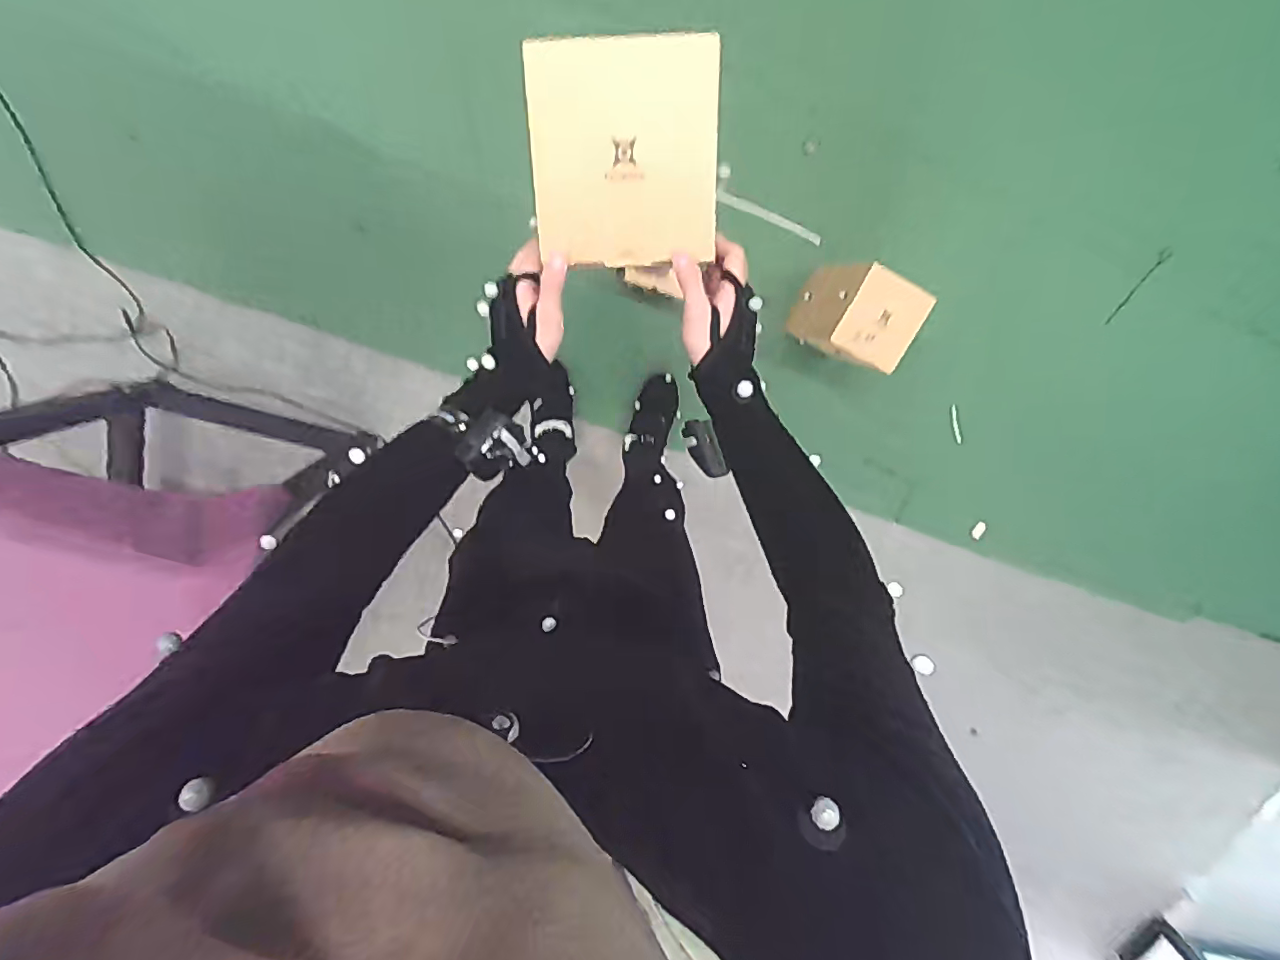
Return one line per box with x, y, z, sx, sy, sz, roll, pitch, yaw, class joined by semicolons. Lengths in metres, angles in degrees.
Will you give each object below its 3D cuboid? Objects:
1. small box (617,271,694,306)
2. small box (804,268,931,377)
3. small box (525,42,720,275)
0.046;-0.532;1.298;0.168;0.176;0.179;15;107;-9;small box
0.498;-0.356;1.217;0.168;0.176;0.179;24;107;-12;small box
-0.013;-0.305;0.548;0.168;0.176;0.179;-2;112;1;small box
